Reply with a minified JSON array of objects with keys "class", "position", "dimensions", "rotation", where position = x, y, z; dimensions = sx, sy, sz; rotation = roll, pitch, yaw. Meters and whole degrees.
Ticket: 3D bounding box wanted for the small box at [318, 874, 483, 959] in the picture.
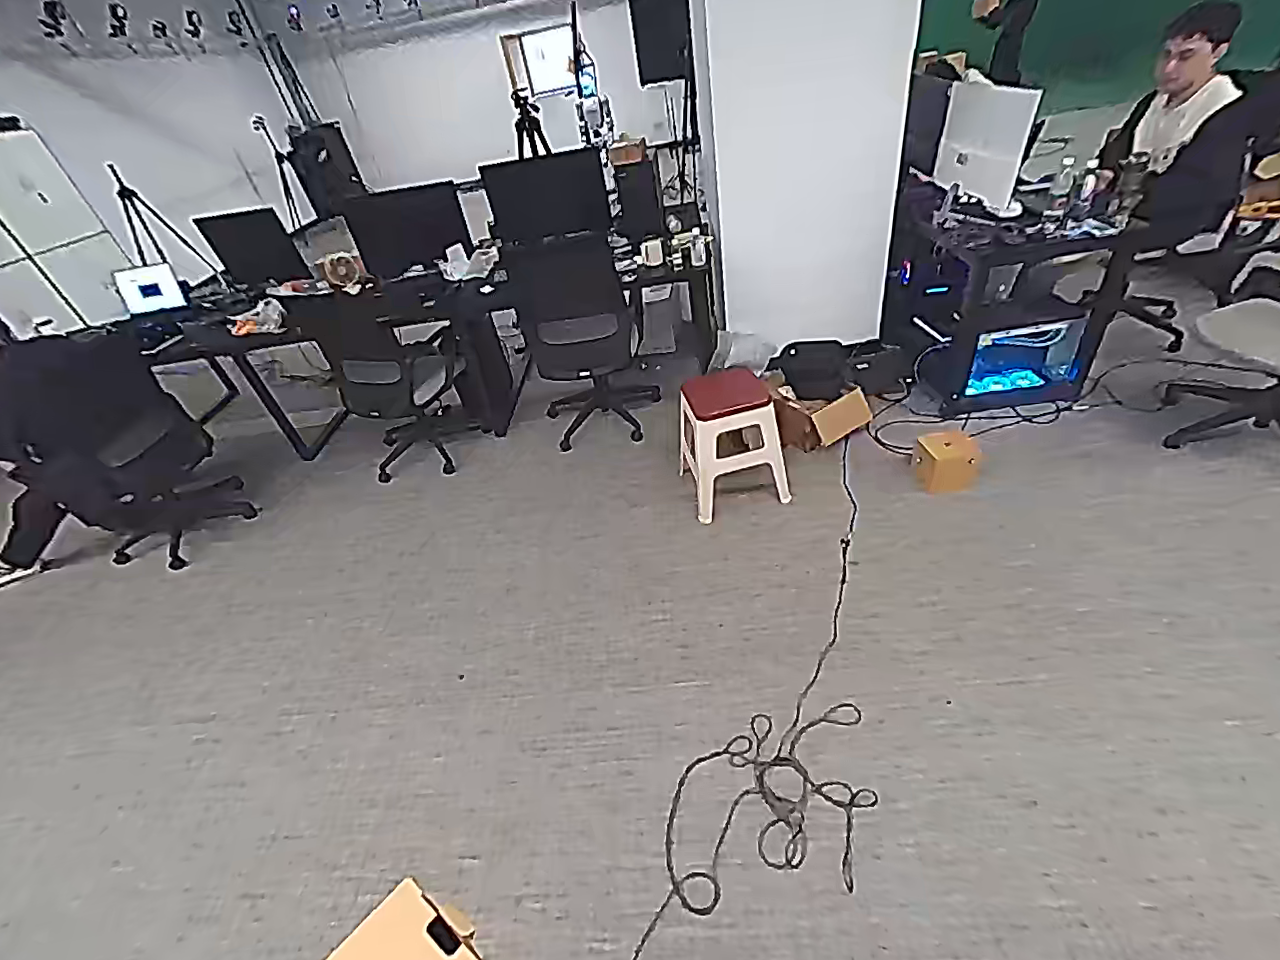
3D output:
[{"class":"small box","position":[-0.250,0.573,0.550],"dimensions":[0.168,0.176,0.179],"rotation":[19,33,32]}]
